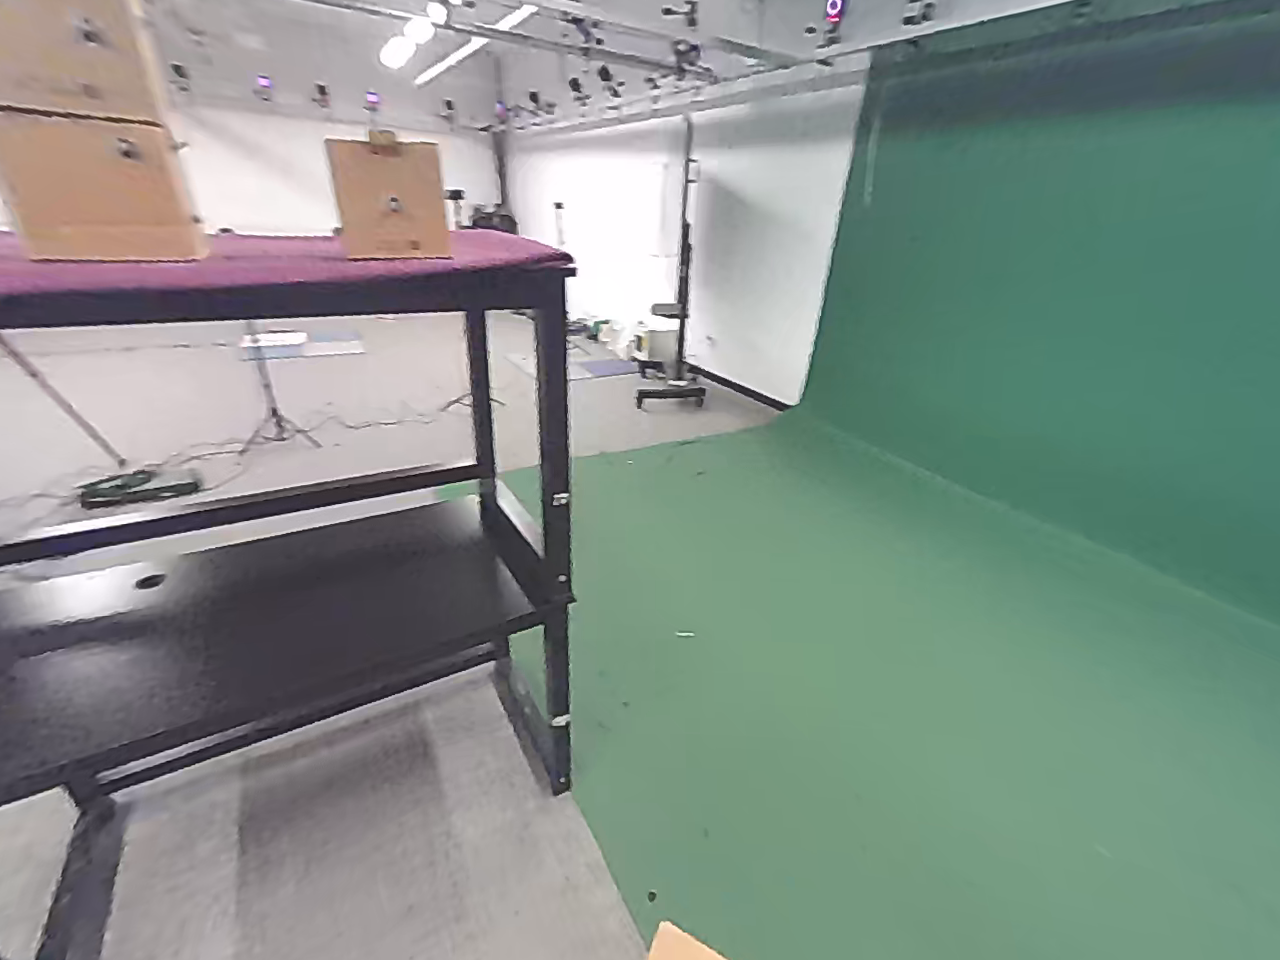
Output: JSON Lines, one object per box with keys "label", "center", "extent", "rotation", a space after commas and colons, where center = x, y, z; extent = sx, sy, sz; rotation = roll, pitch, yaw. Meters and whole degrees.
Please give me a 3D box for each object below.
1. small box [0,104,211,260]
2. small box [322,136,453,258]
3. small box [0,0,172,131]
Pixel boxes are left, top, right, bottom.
{"label": "small box", "center": [-0.728, -0.395, 0.741], "extent": [0.179, 0.176, 0.168], "rotation": [-12, 29, -29]}
{"label": "small box", "center": [-0.419, -0.470, 0.913], "extent": [0.168, 0.176, 0.179], "rotation": [-10, 28, -22]}
{"label": "small box", "center": [-0.716, -0.542, 0.673], "extent": [0.168, 0.176, 0.179], "rotation": [-12, 28, -31]}
